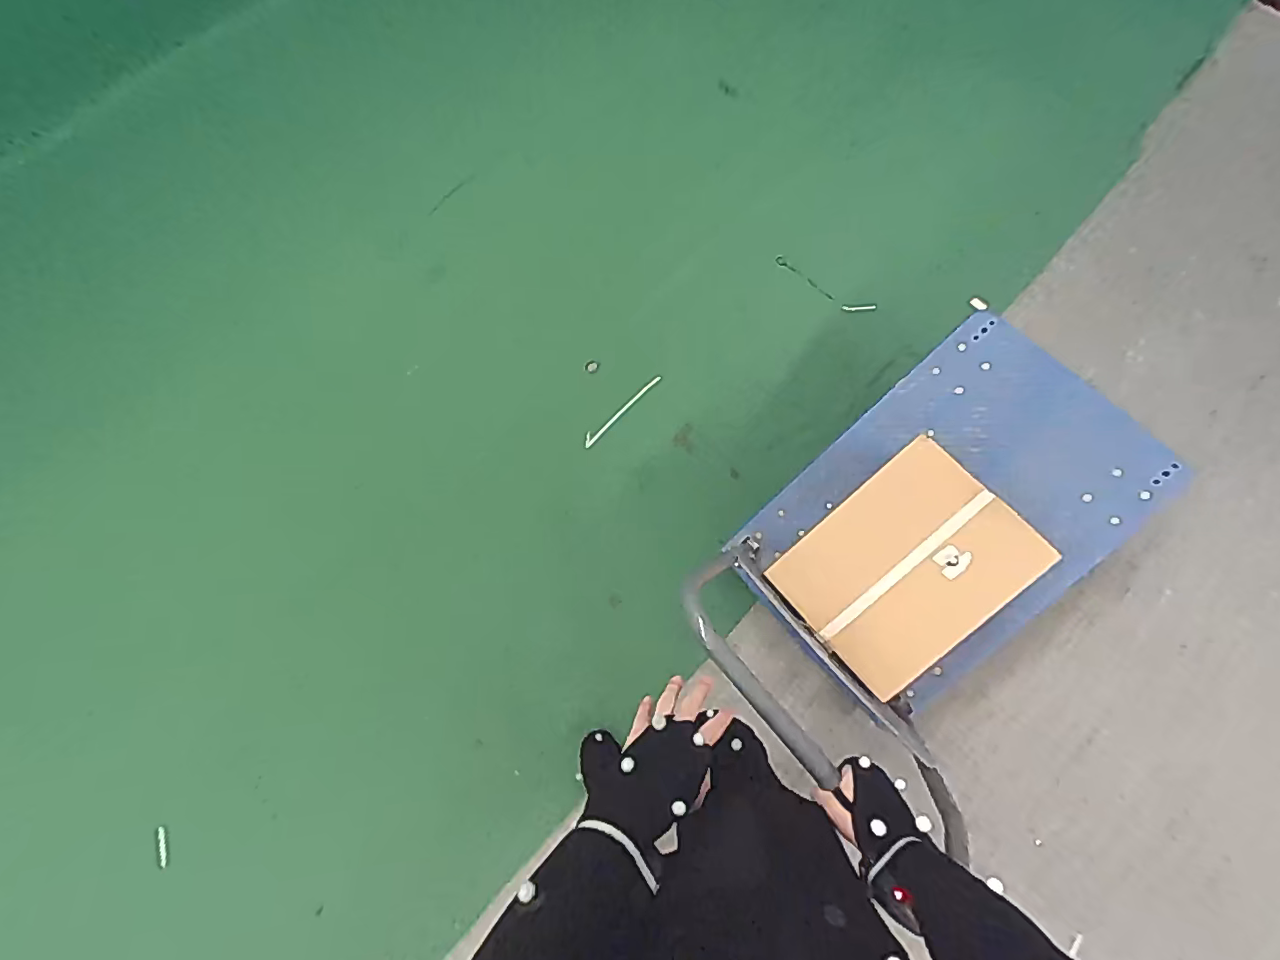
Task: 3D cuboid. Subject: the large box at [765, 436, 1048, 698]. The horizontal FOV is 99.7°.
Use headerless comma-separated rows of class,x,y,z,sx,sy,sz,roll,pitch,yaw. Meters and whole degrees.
large box,0.519,0.181,1.151,0.408,0.320,0.320,-43,75,5
